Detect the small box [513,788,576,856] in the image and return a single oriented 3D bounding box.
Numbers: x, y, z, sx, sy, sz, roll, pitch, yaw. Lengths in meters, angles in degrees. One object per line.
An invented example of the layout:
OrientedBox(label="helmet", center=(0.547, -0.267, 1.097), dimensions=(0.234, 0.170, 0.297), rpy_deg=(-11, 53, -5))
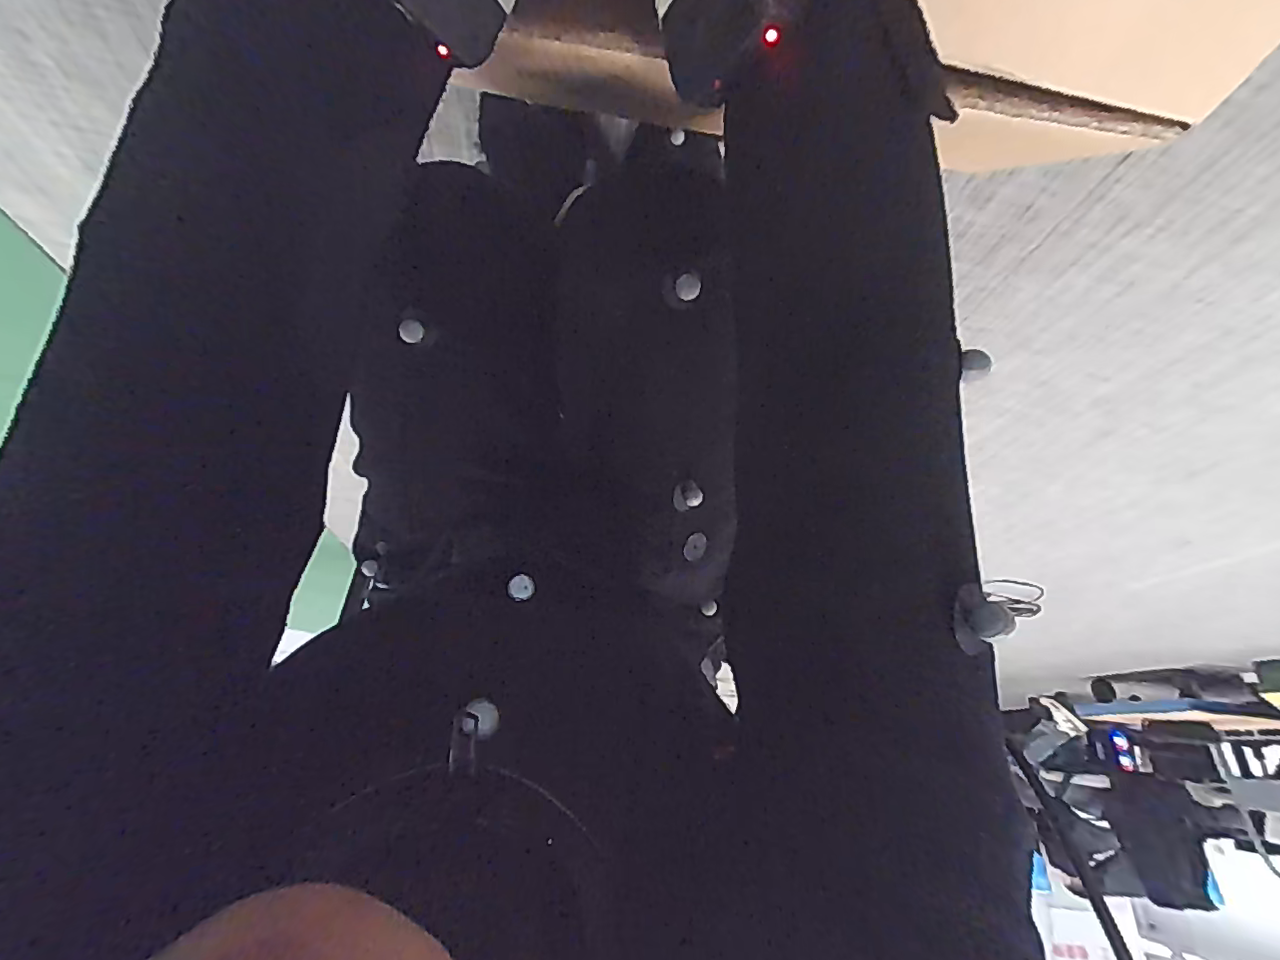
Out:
OrientedBox(label="small box", center=(-0.310, 1.126, 1.795), dimensions=(0.168, 0.176, 0.179), rpy_deg=(4, 153, 3))
